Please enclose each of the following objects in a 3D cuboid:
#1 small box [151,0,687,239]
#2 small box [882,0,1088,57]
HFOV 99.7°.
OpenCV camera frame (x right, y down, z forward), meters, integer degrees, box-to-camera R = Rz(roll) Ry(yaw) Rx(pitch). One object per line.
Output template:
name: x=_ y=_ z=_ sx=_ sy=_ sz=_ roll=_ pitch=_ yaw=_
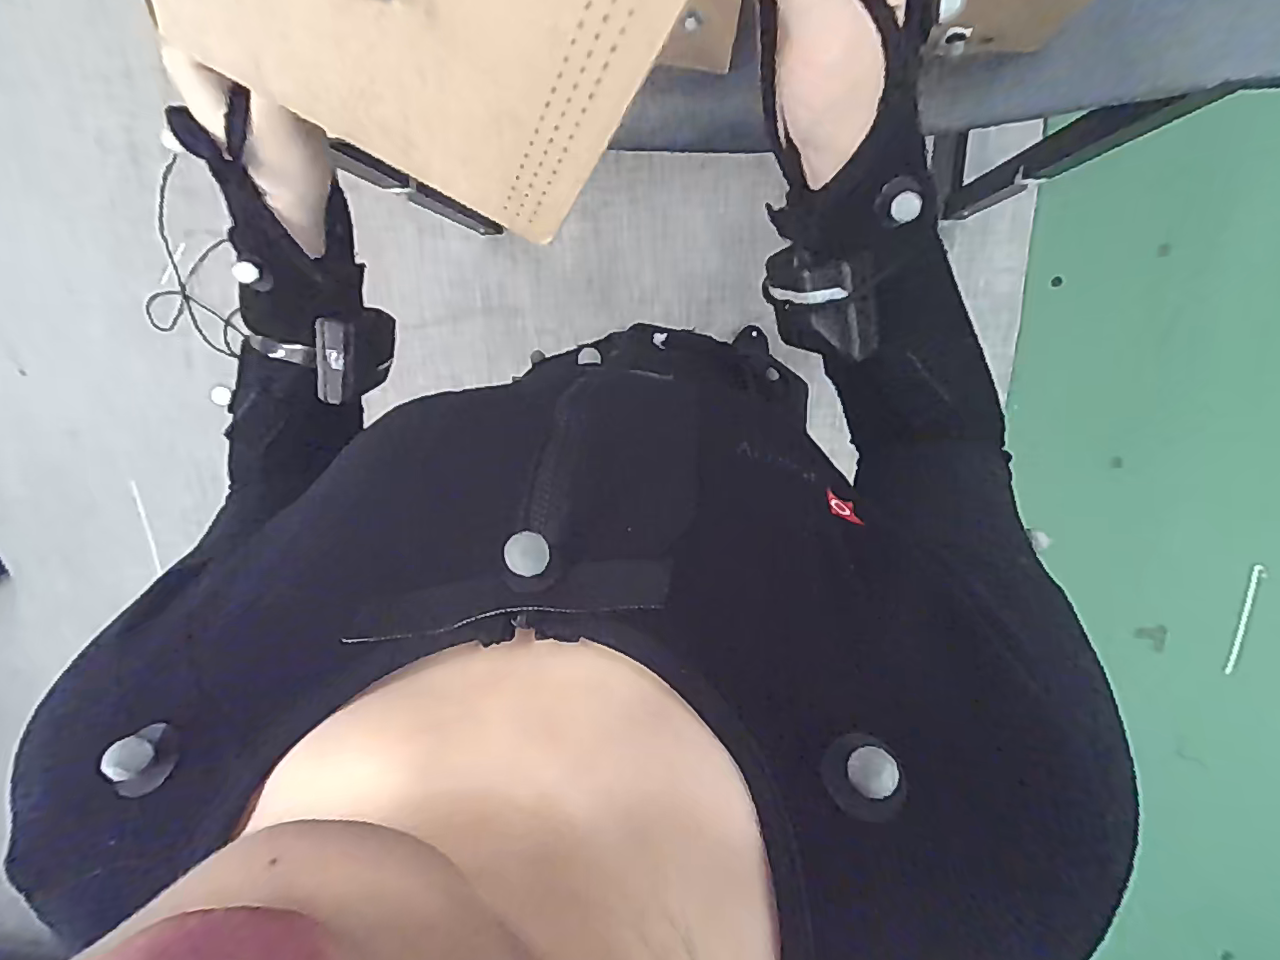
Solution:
small box: x=-0.062 y=-0.239 z=0.206 sx=0.176 sy=0.179 sz=0.168 roll=21 pitch=67 yaw=-23
small box: x=0.333 y=-0.524 z=0.484 sx=0.168 sy=0.176 sz=0.179 roll=2 pitch=104 yaw=7
